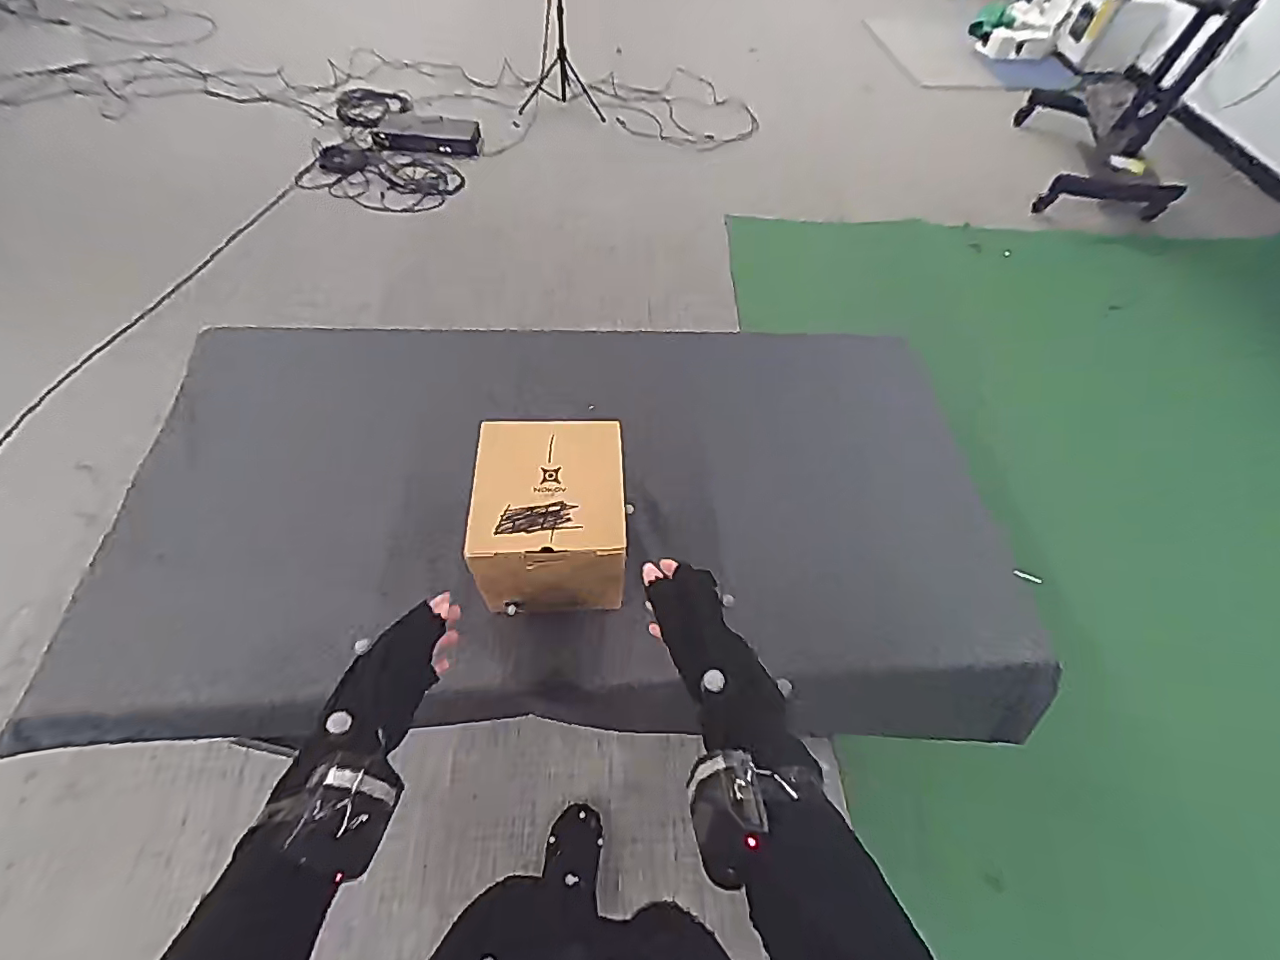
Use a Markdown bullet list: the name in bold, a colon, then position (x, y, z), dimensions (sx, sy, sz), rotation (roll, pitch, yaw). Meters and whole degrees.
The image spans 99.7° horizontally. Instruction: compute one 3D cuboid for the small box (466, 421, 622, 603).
- **small box**: position (-0.107, 0.046, 0.670), dimensions (0.168, 0.176, 0.179), rotation (0, 56, -5)
